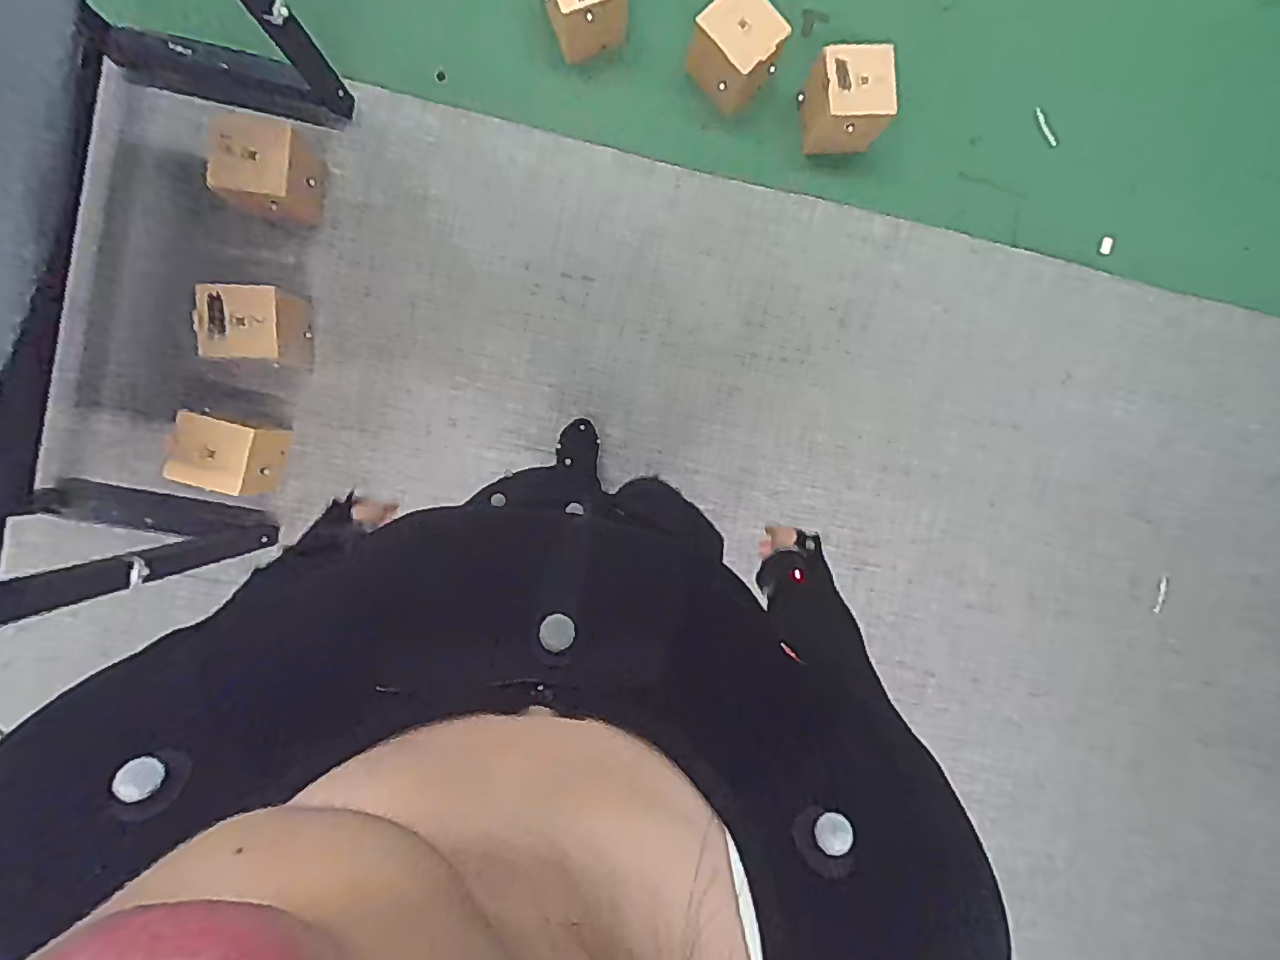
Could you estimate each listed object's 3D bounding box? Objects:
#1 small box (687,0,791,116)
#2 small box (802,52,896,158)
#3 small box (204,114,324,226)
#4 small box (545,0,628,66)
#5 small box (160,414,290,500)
[{"bbox_3d":[0.241,-1.065,1.359,0.168,0.176,0.179,-44,94,-2],"label":"small box"},{"bbox_3d":[0.526,-0.953,1.385,0.179,0.176,0.168,-5,93,-5],"label":"small box"},{"bbox_3d":[-0.885,-0.728,1.290,0.179,0.176,0.168,6,92,-5],"label":"small box"},{"bbox_3d":[-0.138,-1.178,1.325,0.168,0.176,0.179,-21,94,-3],"label":"small box"},{"bbox_3d":[-1.001,-0.059,1.321,0.179,0.176,0.168,15,92,-5],"label":"small box"}]
